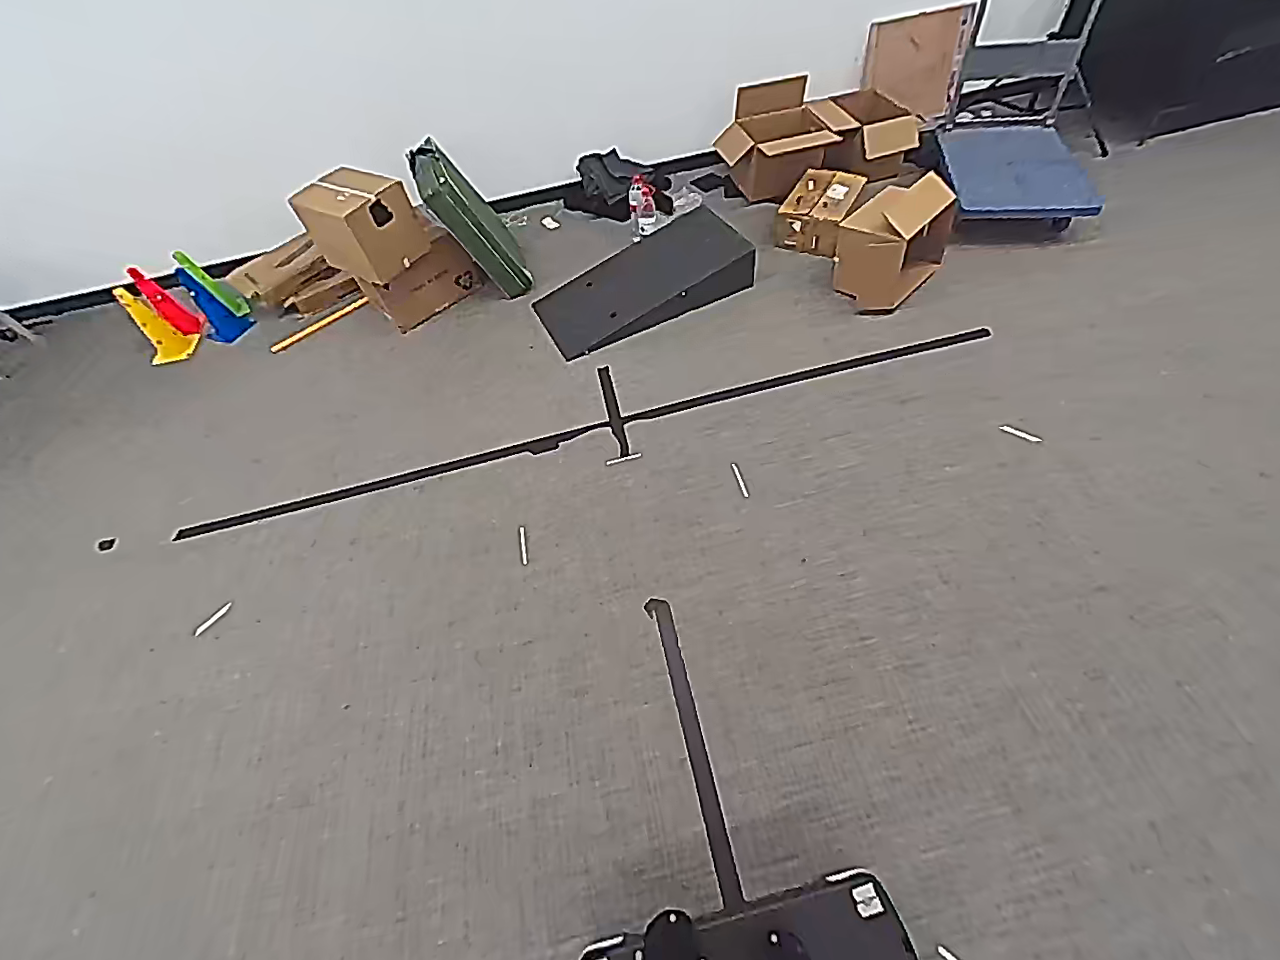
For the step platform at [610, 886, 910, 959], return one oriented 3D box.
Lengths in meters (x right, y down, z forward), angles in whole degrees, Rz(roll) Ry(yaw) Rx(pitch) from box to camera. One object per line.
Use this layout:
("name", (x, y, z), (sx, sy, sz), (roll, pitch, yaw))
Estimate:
("step platform", (0.214, 1.071, 1.078), (0.684, 0.204, 0.286), (-14, 54, -4))
